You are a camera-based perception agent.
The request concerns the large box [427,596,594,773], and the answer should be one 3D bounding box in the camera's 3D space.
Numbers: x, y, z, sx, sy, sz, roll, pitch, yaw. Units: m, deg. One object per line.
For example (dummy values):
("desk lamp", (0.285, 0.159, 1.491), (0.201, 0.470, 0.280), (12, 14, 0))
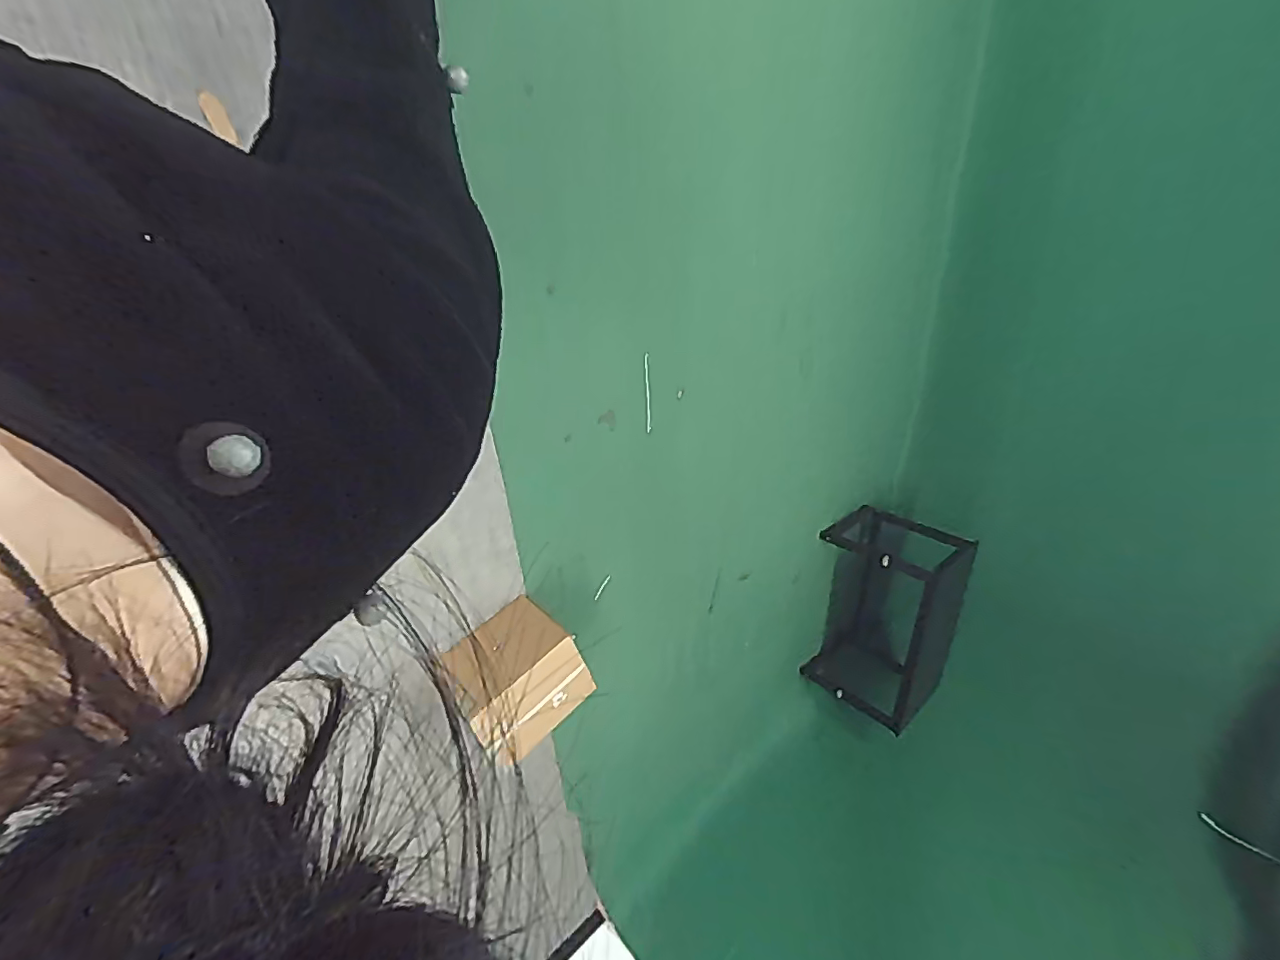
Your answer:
("large box", (-0.439, 0.687, 1.864), (0.408, 0.320, 0.320), (-38, 131, -28))
